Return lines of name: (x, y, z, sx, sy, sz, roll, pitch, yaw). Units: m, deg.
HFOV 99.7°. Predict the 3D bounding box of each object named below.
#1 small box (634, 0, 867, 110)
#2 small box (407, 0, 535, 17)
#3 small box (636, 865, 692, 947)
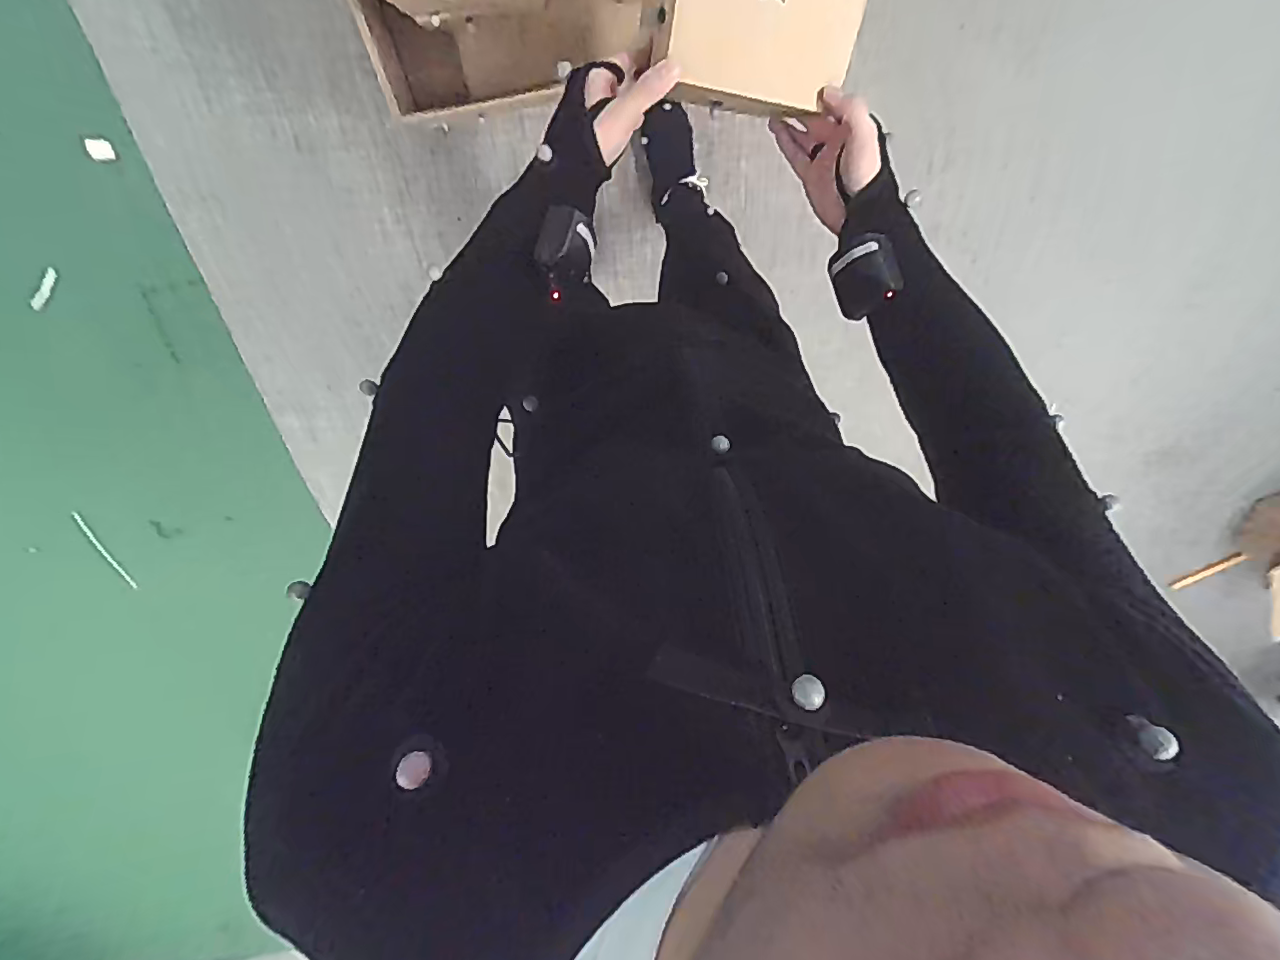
small box: (0.097, -0.457, 0.490, 0.168, 0.176, 0.179, 2, 123, -16)
small box: (-0.221, -0.696, 0.663, 0.168, 0.176, 0.179, -12, 126, -2)
small box: (0.081, 1.468, 1.867, 0.168, 0.176, 0.179, -9, 126, -6)
